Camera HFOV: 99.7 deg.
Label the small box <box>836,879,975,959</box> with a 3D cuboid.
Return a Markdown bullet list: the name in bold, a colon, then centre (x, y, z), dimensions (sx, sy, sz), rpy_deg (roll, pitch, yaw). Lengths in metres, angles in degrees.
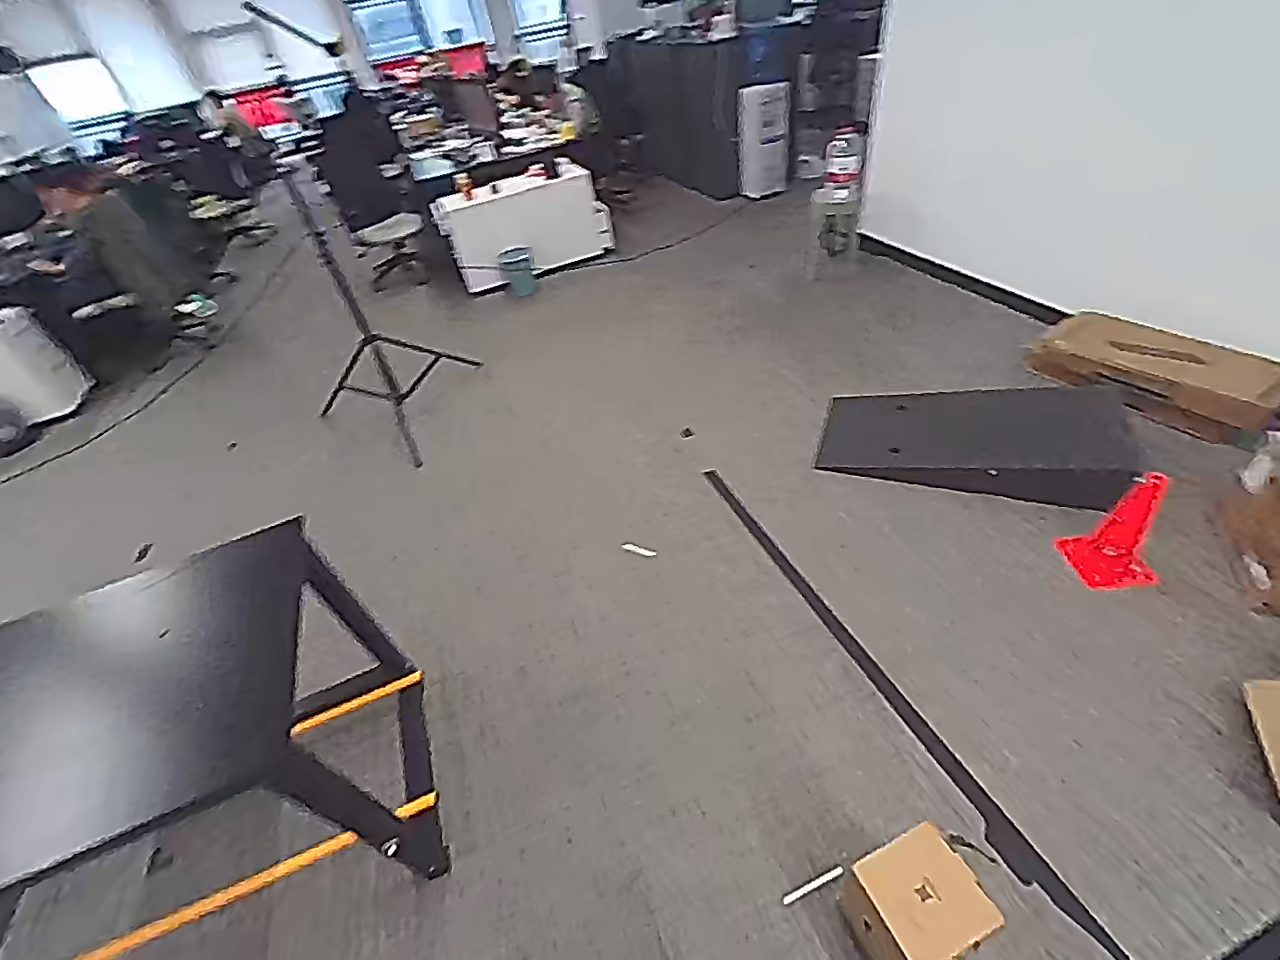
- **small box**: centre (0.519, 0.877, 1.083), dimensions (0.168, 0.176, 0.179), rpy_deg (-22, 43, -12)

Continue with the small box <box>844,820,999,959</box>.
- **small box**: centre (0.491, 0.759, 0.974), dimensions (0.179, 0.176, 0.168), rpy_deg (-23, 42, -10)
